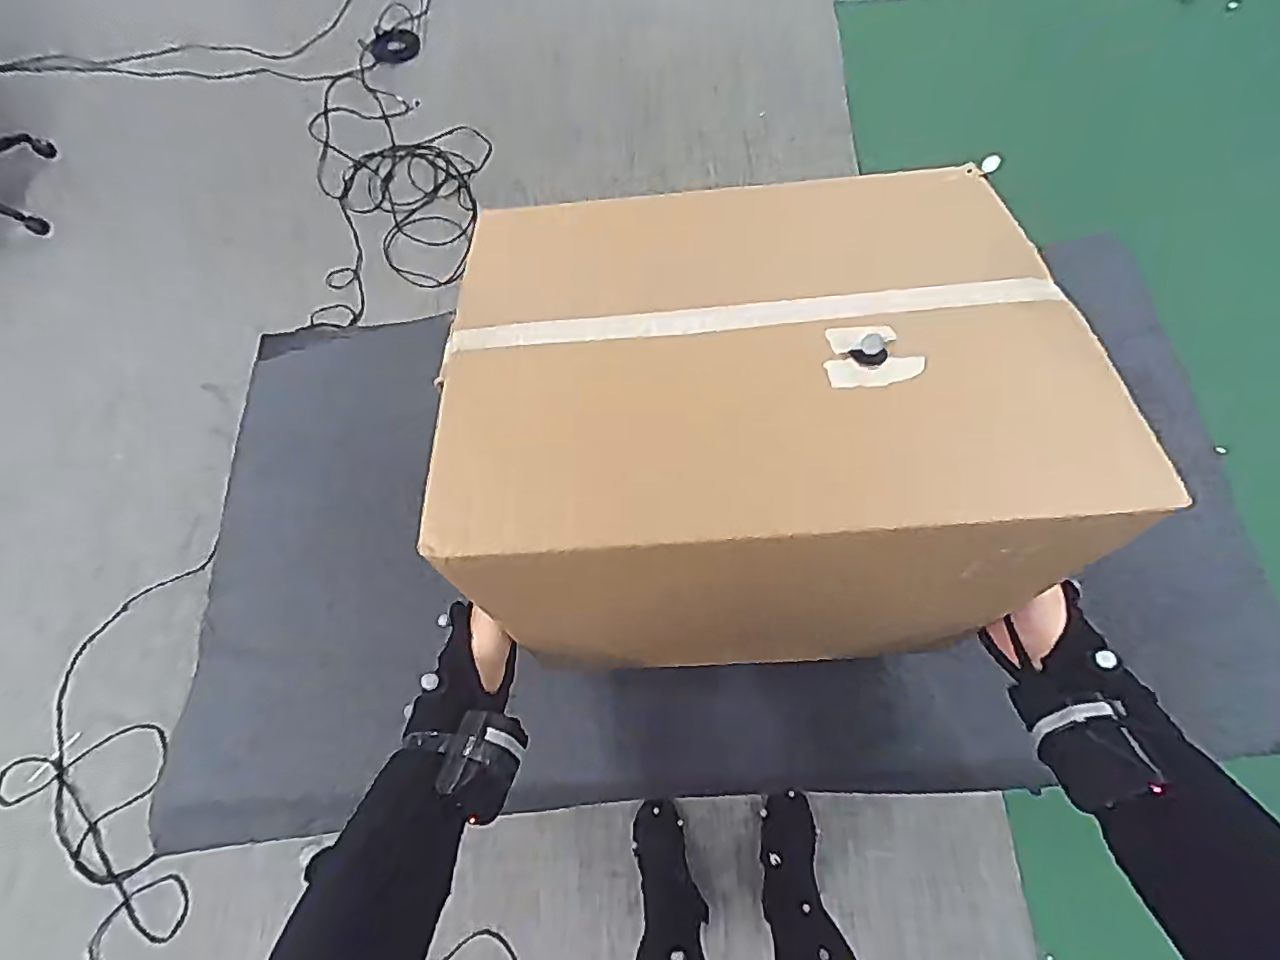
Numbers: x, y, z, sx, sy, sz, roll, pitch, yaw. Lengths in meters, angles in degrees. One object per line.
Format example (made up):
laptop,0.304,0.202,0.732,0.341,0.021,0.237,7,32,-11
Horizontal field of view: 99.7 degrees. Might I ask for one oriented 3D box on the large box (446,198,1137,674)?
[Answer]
large box,0.084,-0.016,0.510,0.408,0.320,0.320,-4,60,2
